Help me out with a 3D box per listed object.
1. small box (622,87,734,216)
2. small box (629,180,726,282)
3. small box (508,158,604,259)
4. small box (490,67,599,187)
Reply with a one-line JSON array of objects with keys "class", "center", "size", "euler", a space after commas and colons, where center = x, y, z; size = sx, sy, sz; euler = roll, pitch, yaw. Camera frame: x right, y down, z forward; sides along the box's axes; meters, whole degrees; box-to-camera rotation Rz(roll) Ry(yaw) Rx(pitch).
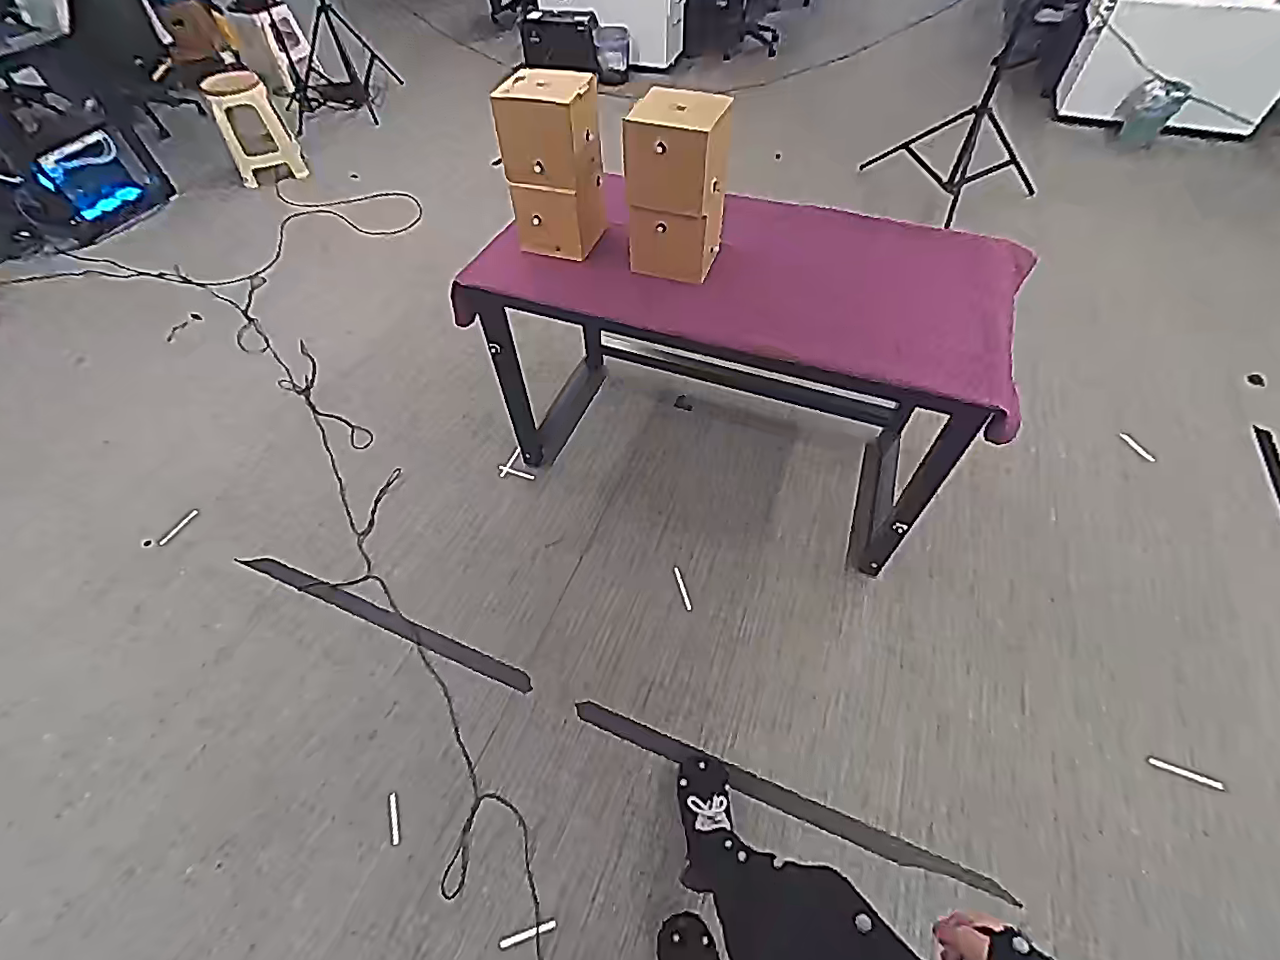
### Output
[{"class": "small box", "center": [0.076, -0.667, 1.104], "size": [0.179, 0.176, 0.168], "euler": [18, 58, 13]}, {"class": "small box", "center": [0.085, -0.581, 1.242], "size": [0.179, 0.176, 0.168], "euler": [16, 56, 12]}, {"class": "small box", "center": [-0.191, -0.661, 1.308], "size": [0.168, 0.176, 0.179], "euler": [14, 55, 11]}, {"class": "small box", "center": [-0.197, -0.766, 1.181], "size": [0.179, 0.176, 0.168], "euler": [13, 54, 10]}]
